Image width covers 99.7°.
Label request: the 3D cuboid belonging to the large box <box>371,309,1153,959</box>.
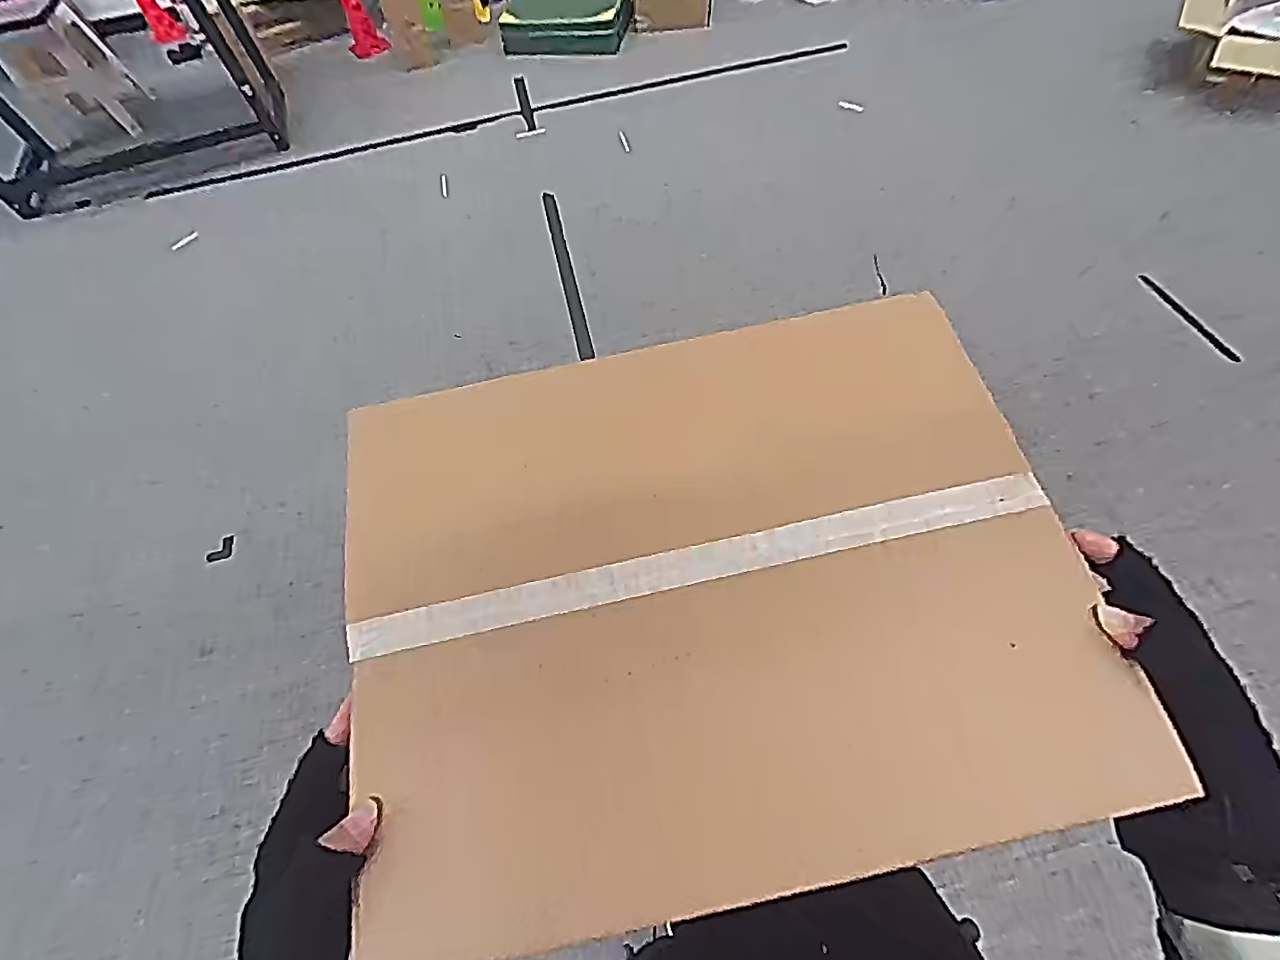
[{"bbox_3d":[0.044,0.114,0.461,0.408,0.320,0.320,-12,67,-2],"label":"large box"}]
